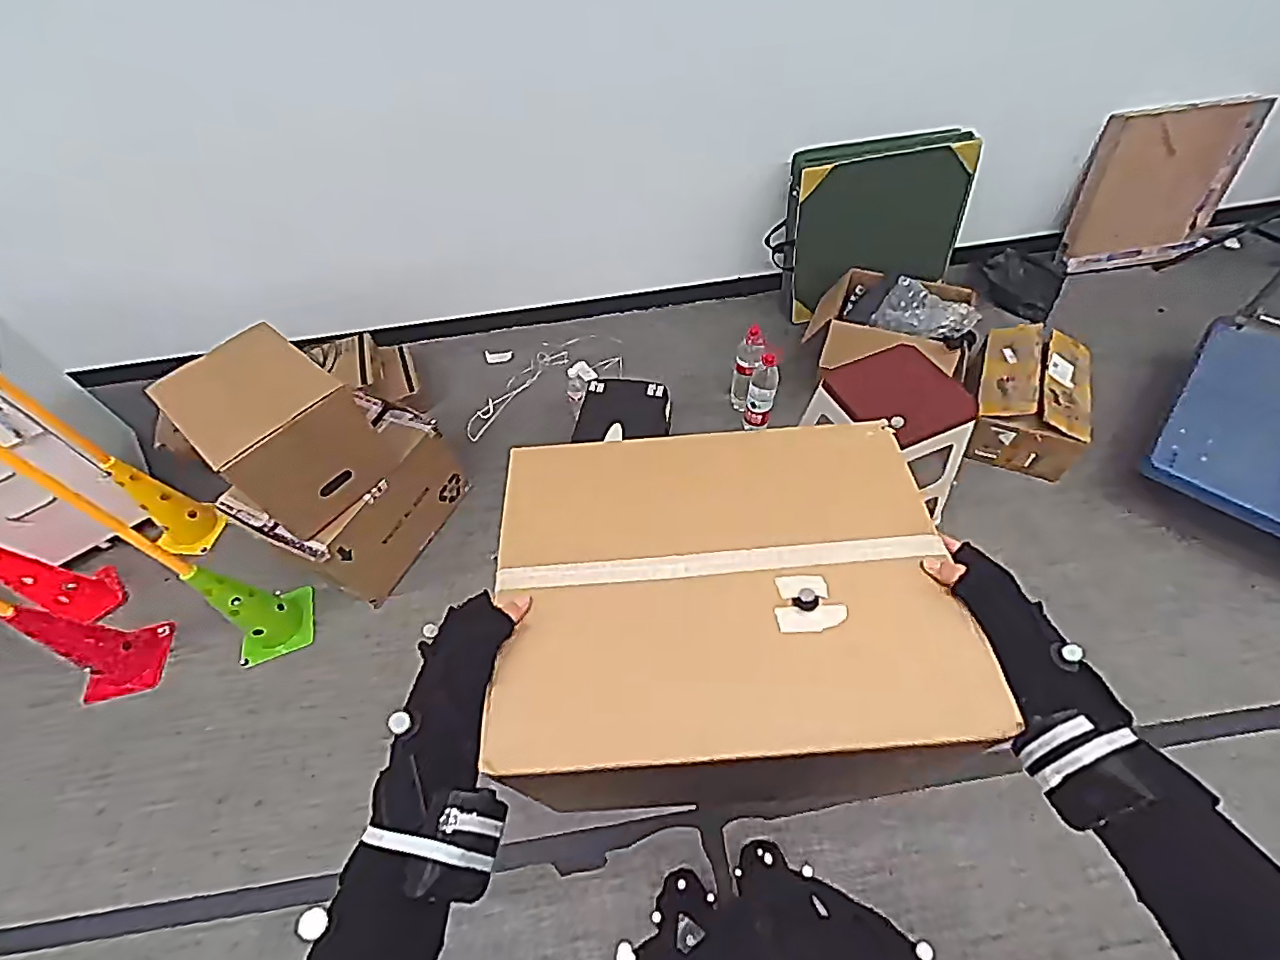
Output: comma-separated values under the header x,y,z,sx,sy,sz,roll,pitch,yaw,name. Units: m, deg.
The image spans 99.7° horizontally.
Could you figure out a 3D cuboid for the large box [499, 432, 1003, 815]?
x,y,z,sx,sy,sz,roll,pitch,yaw,name
0.082,0.174,0.624,0.408,0.320,0.320,-4,53,0,large box
